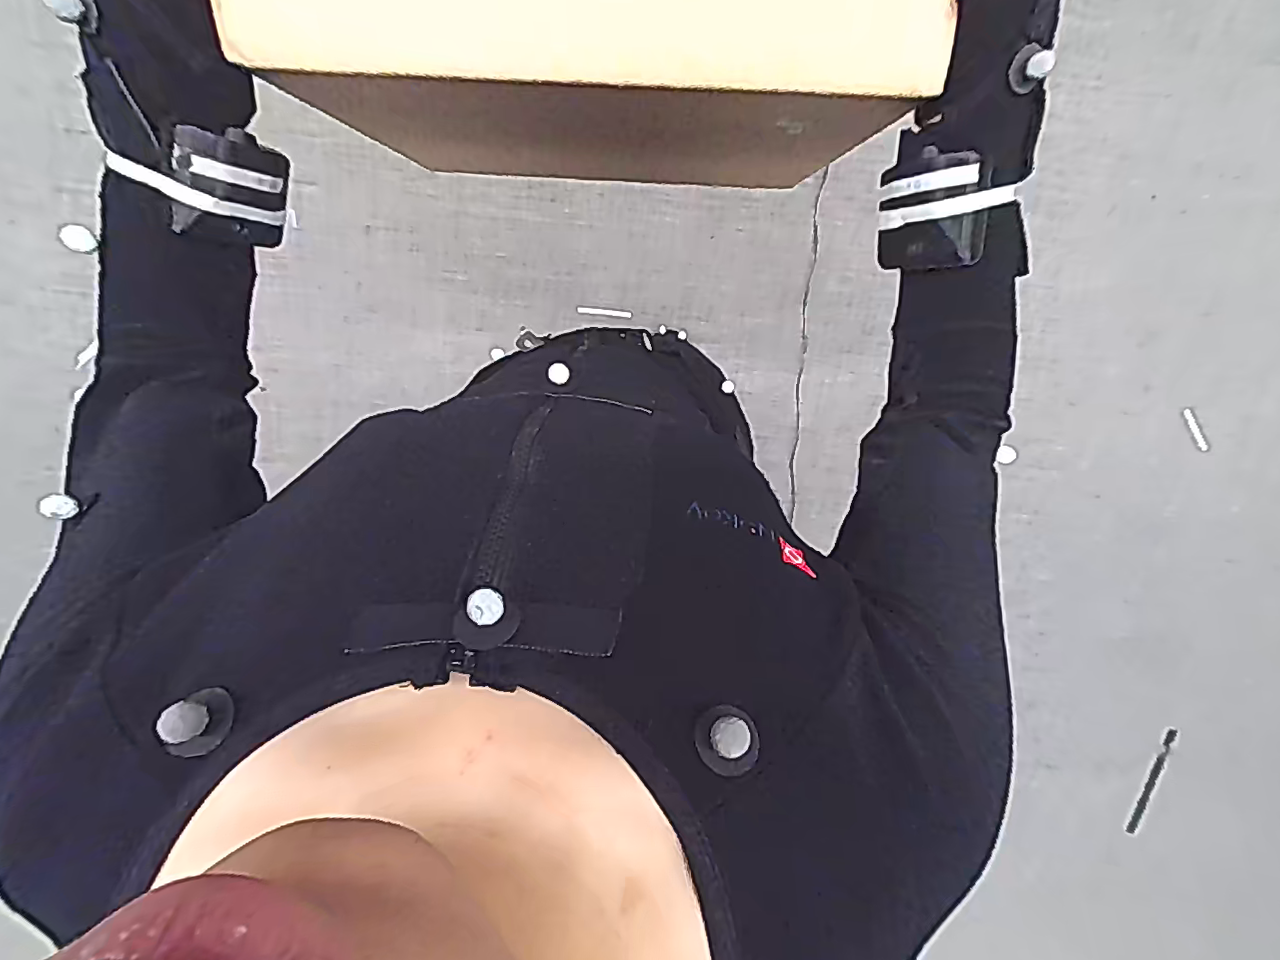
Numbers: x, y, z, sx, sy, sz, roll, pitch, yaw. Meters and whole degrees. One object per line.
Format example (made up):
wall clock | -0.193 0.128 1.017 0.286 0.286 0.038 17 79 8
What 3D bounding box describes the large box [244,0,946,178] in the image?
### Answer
large box | -0.025 -0.432 0.408 0.408 0.320 0.320 1 110 -1
